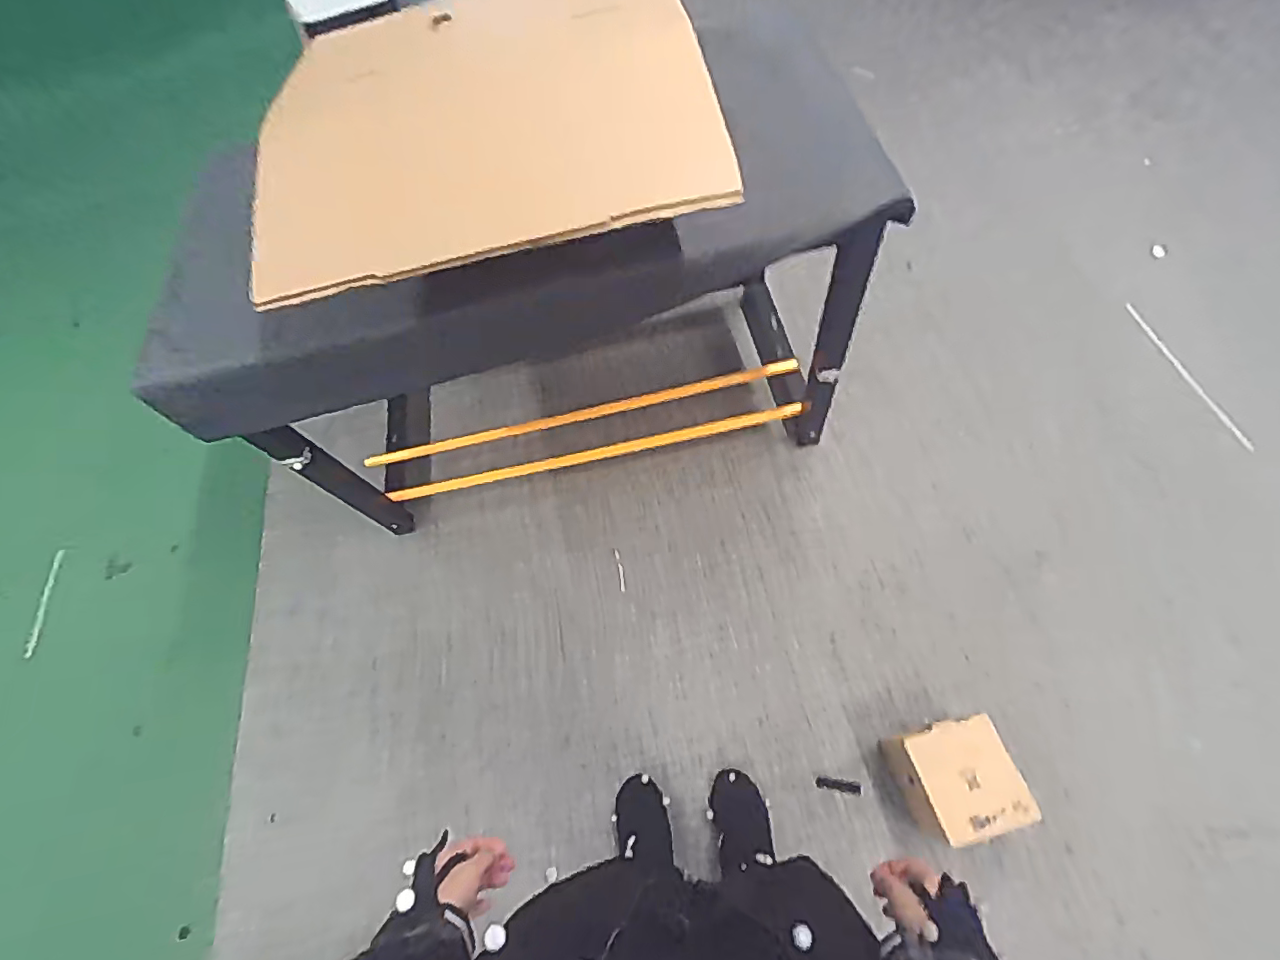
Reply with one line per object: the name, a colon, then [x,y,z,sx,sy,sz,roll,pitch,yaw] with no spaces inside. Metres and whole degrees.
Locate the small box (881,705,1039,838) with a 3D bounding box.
small box: [0.587,0.548,1.024,0.168,0.176,0.179,-18,63,0]
